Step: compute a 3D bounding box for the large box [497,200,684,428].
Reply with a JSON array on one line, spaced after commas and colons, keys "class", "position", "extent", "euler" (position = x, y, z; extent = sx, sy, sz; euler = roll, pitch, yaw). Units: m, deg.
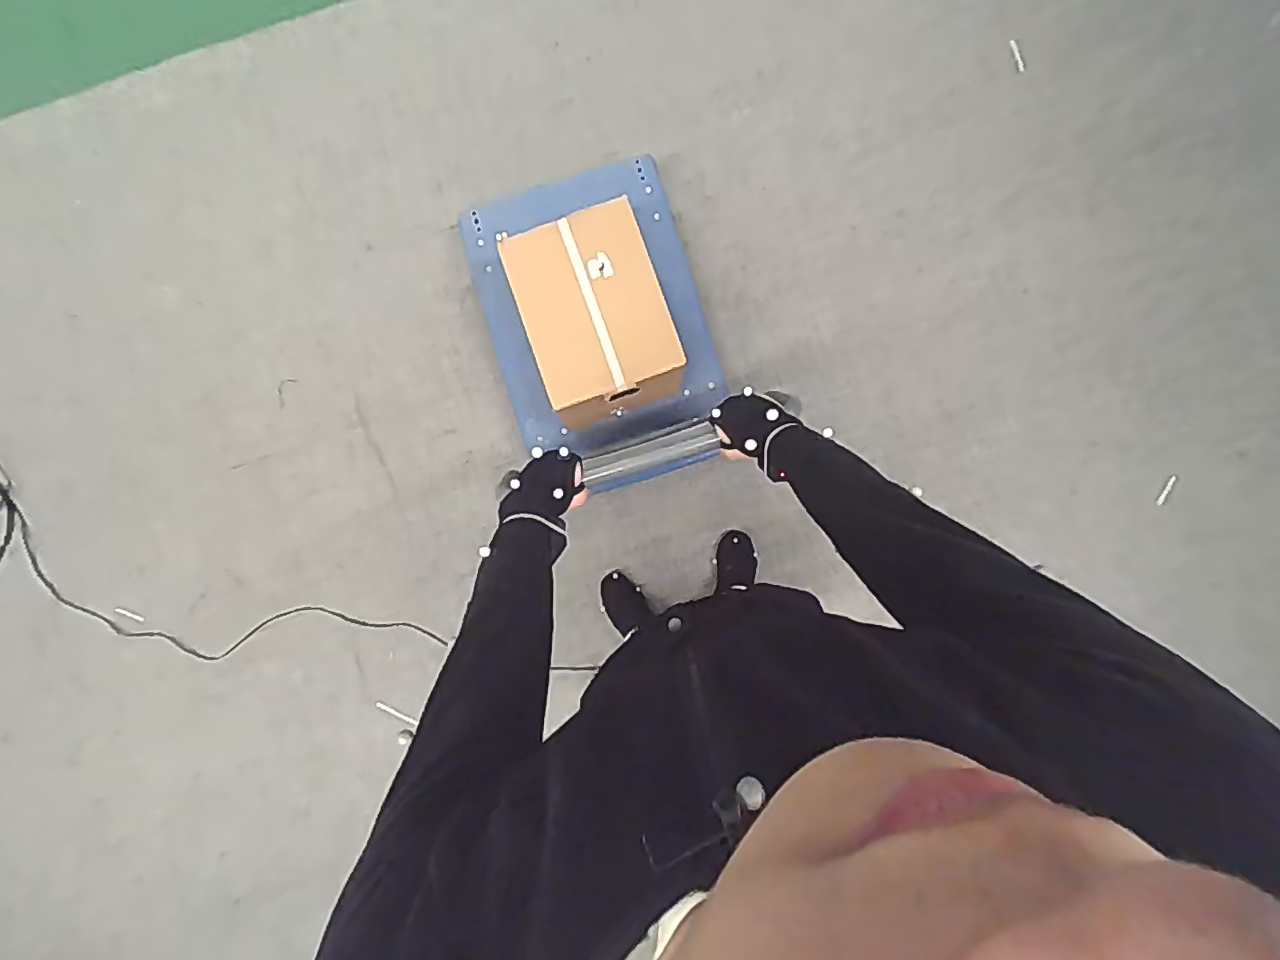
[{"class": "large box", "position": [-0.105, -0.385, 1.350], "extent": [0.320, 0.320, 0.408], "euler": [-20, 87, 0]}]
